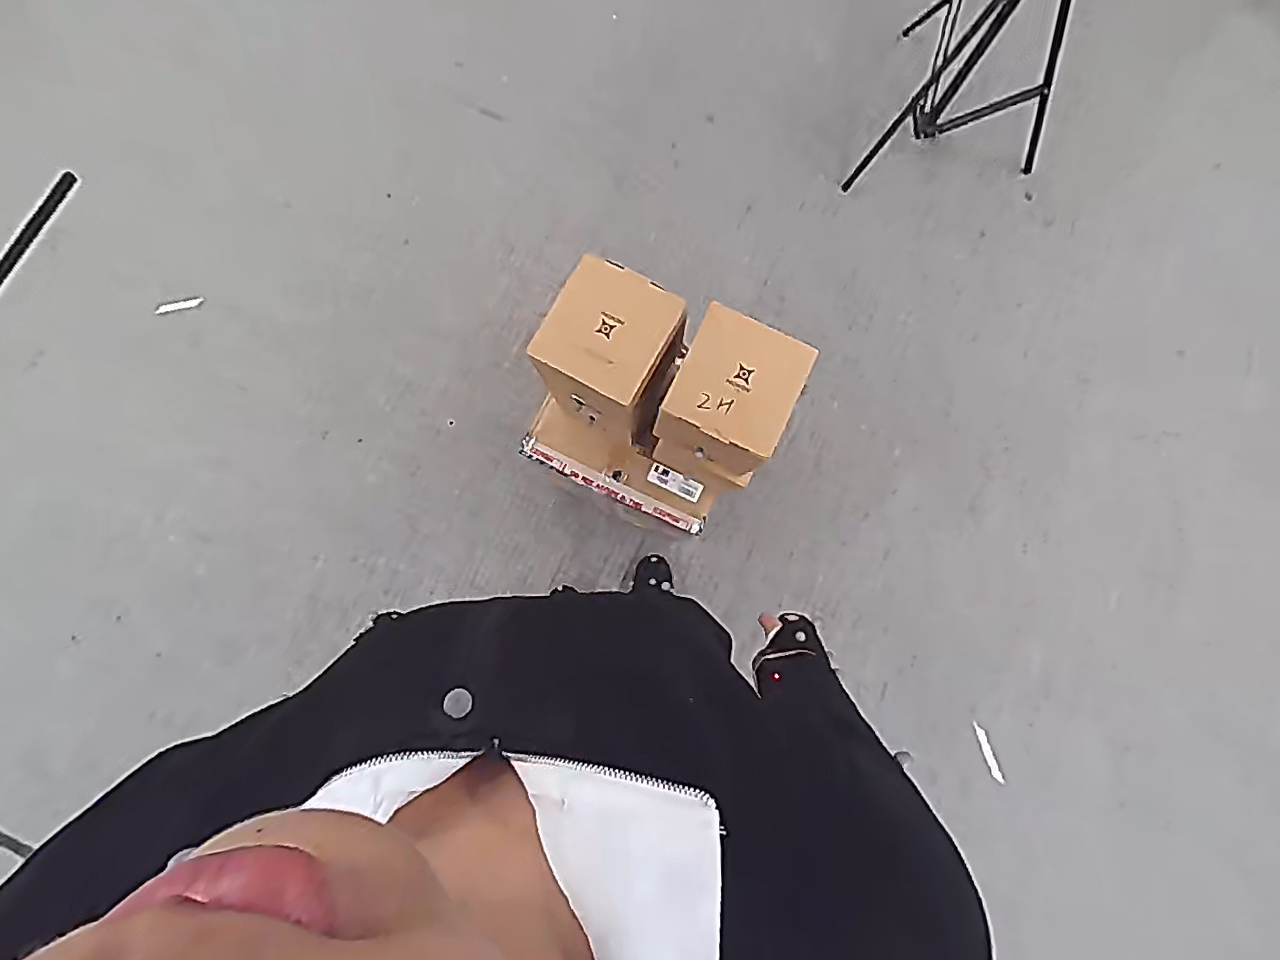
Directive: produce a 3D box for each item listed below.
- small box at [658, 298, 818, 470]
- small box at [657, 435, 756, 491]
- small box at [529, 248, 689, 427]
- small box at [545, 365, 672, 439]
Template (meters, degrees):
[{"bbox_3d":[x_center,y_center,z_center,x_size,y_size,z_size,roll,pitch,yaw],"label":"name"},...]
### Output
[{"bbox_3d":[0.134,-0.132,0.813,0.168,0.176,0.179,26,83,1],"label":"small box"},{"bbox_3d":[0.138,-0.095,0.974,0.168,0.176,0.179,28,84,2],"label":"small box"},{"bbox_3d":[-0.041,-0.204,0.820,0.168,0.176,0.179,28,85,6],"label":"small box"},{"bbox_3d":[-0.046,-0.193,0.984,0.168,0.176,0.179,28,85,5],"label":"small box"}]
